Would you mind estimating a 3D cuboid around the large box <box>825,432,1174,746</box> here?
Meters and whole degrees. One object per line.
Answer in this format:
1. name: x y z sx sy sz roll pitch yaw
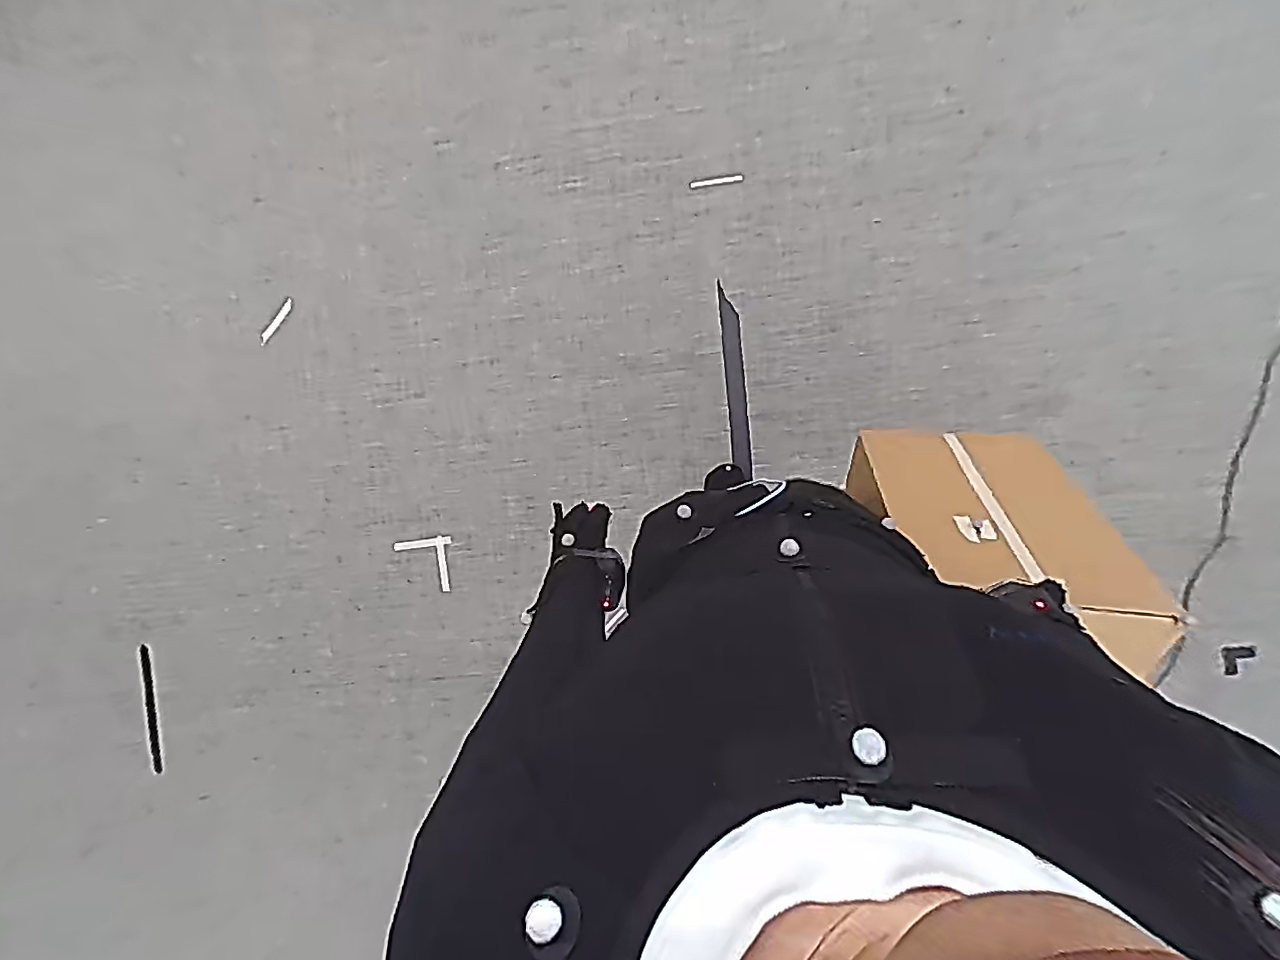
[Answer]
1. large box: 0.519 0.162 0.909 0.320 0.408 0.320 3 129 8
